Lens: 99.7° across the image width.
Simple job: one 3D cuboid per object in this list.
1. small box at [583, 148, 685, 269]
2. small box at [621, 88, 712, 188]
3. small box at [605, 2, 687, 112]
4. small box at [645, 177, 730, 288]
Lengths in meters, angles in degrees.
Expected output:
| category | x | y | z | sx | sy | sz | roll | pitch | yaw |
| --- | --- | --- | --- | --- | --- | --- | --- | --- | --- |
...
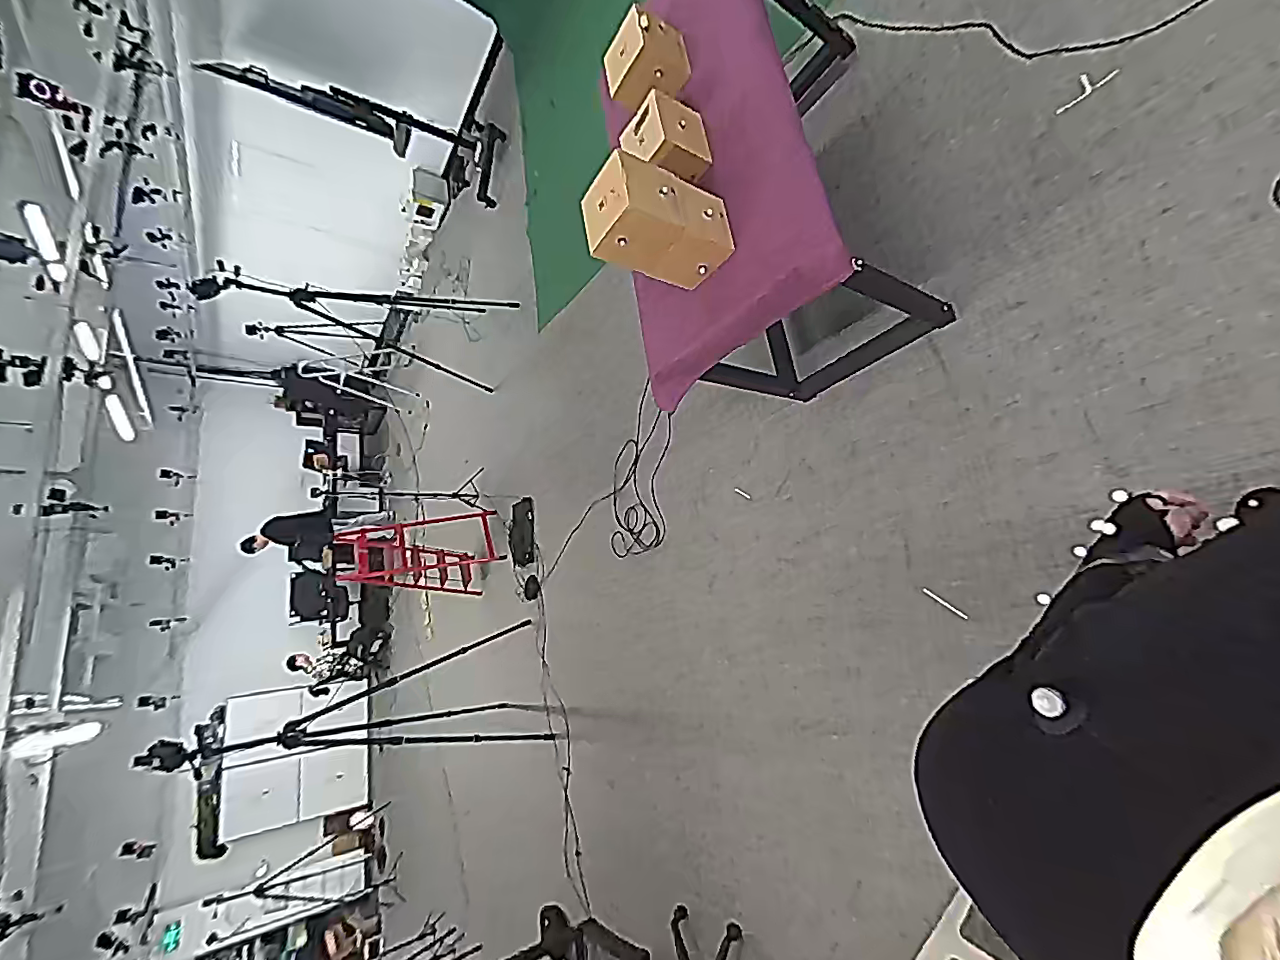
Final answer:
| category | x | y | z | sx | sy | sz | roll | pitch | yaw |
| --- | --- | --- | --- | --- | --- | --- | --- | --- | --- |
| small box | -0.016 | -0.642 | 1.305 | 0.179 | 0.176 | 0.168 | -30 | 64 | 49 |
| small box | 0.072 | -0.909 | 1.484 | 0.168 | 0.176 | 0.179 | -31 | 64 | 49 |
| small box | 0.021 | -1.211 | 1.576 | 0.179 | 0.176 | 0.168 | -29 | 64 | 50 |
| small box | 0.116 | -0.632 | 1.403 | 0.179 | 0.176 | 0.168 | -30 | 63 | 49 |
